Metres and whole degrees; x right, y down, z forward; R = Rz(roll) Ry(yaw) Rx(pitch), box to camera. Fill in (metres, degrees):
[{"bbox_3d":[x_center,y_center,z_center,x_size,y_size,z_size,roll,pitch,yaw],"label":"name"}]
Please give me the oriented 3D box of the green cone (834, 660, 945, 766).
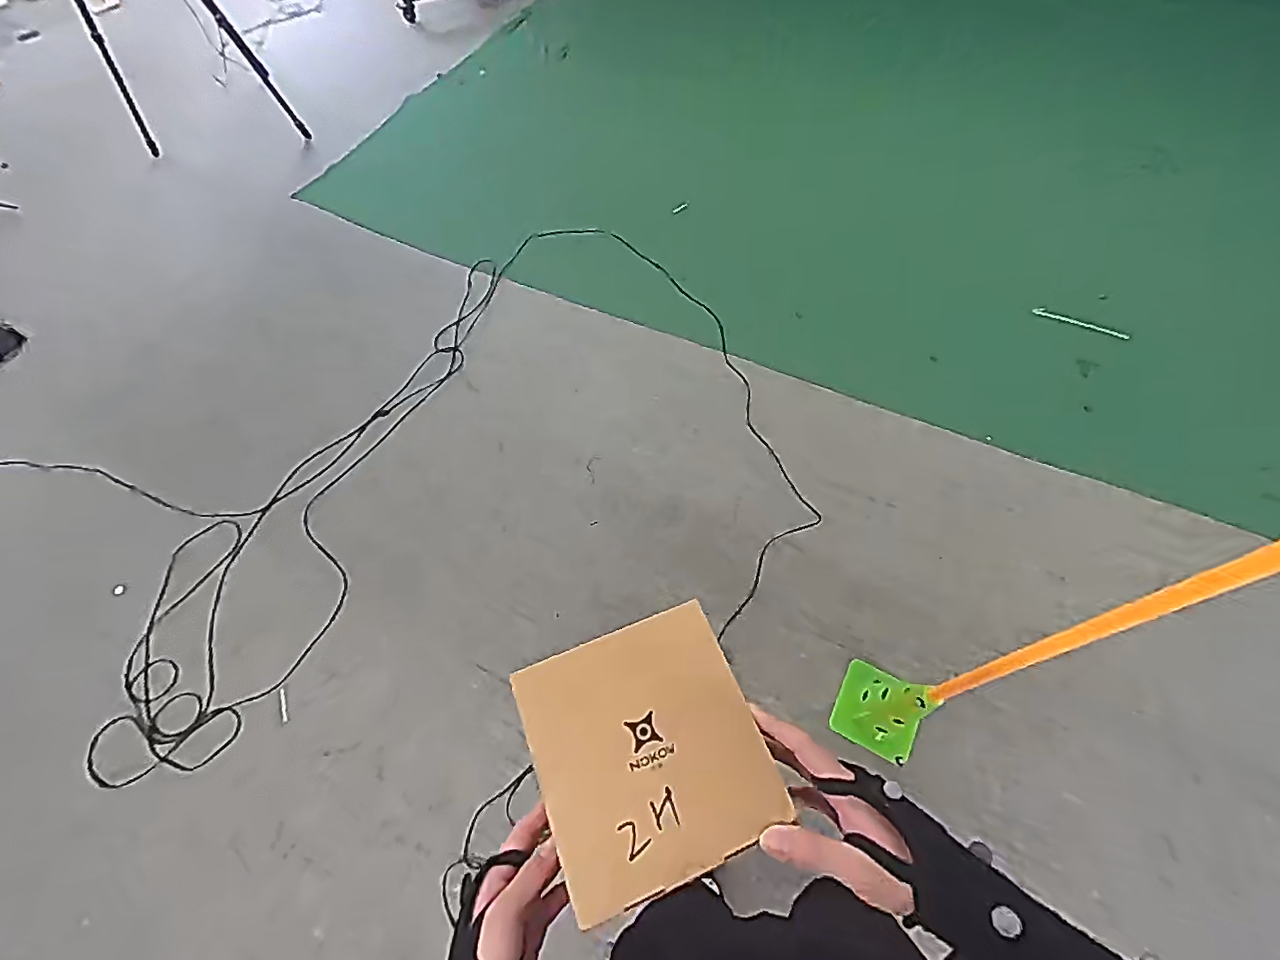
[{"bbox_3d":[0.604,0.502,1.226,0.202,0.368,0.200,24,65,17],"label":"green cone"}]
